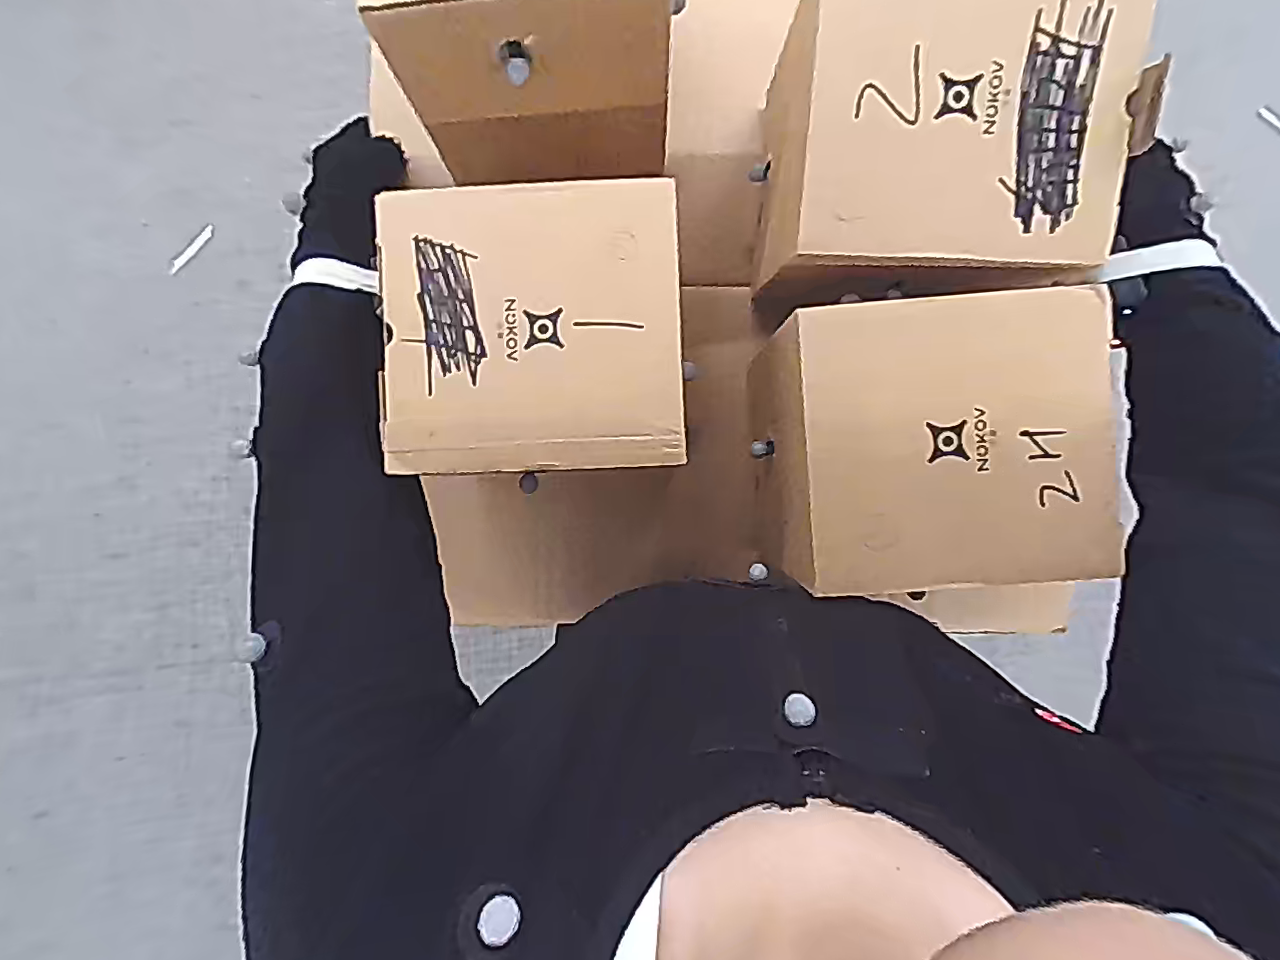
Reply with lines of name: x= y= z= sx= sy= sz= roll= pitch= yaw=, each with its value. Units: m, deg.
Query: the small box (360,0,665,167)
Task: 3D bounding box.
small box: x=-0.076 y=-0.350 z=0.376 sx=0.179 sy=0.176 sz=0.168 roll=-5 pitch=86 yaw=2
